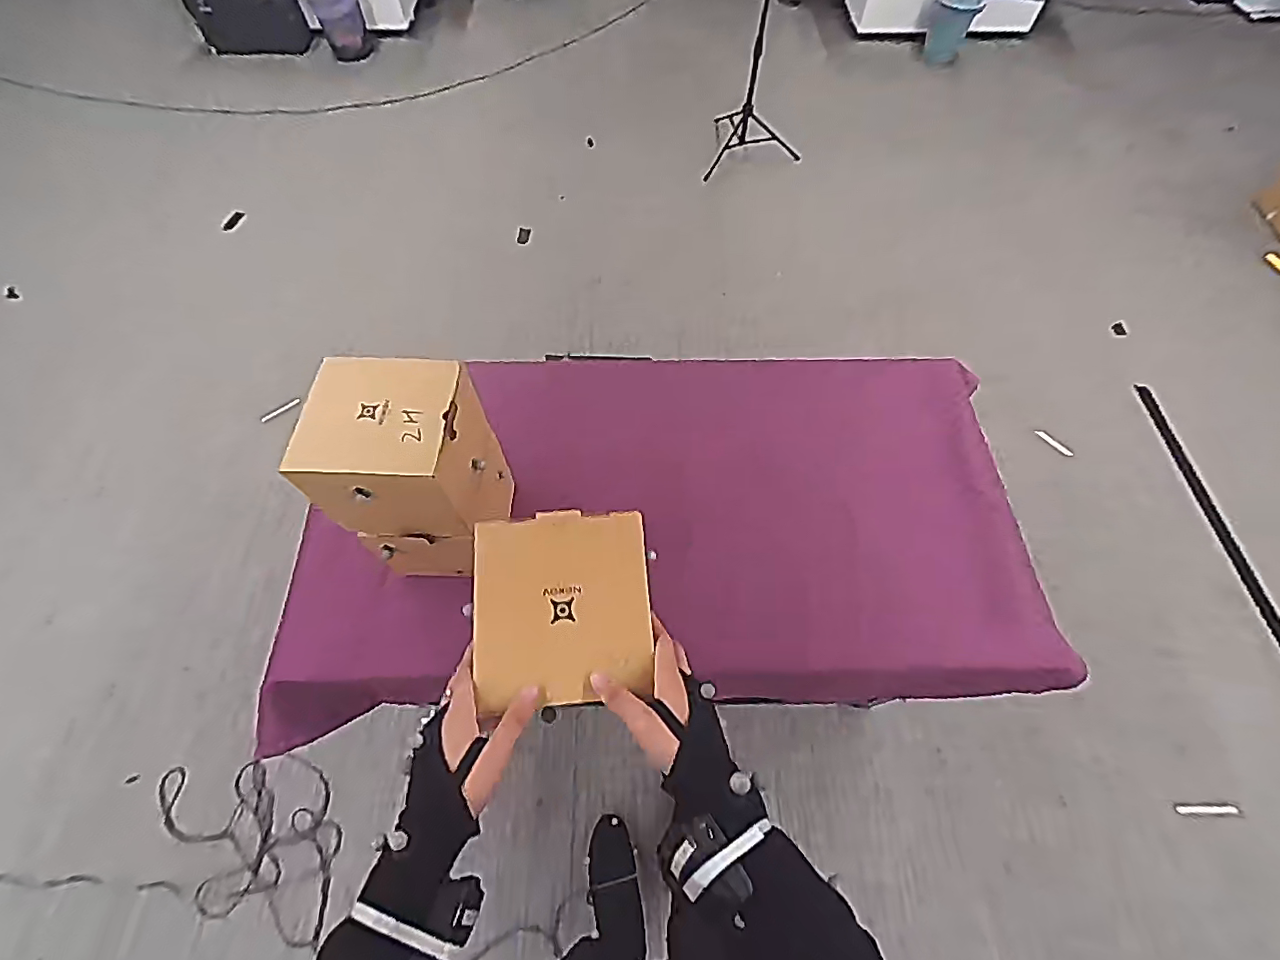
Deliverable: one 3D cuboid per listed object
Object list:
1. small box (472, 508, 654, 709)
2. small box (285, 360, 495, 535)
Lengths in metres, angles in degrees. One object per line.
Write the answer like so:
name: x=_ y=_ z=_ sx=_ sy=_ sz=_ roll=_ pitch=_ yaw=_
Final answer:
small box: x=-0.080 y=0.143 z=0.584 sx=0.168 sy=0.176 sz=0.179 roll=-4 pitch=68 yaw=-6
small box: x=-0.306 y=-0.037 z=0.706 sx=0.179 sy=0.176 sz=0.168 roll=3 pitch=61 yaw=0
